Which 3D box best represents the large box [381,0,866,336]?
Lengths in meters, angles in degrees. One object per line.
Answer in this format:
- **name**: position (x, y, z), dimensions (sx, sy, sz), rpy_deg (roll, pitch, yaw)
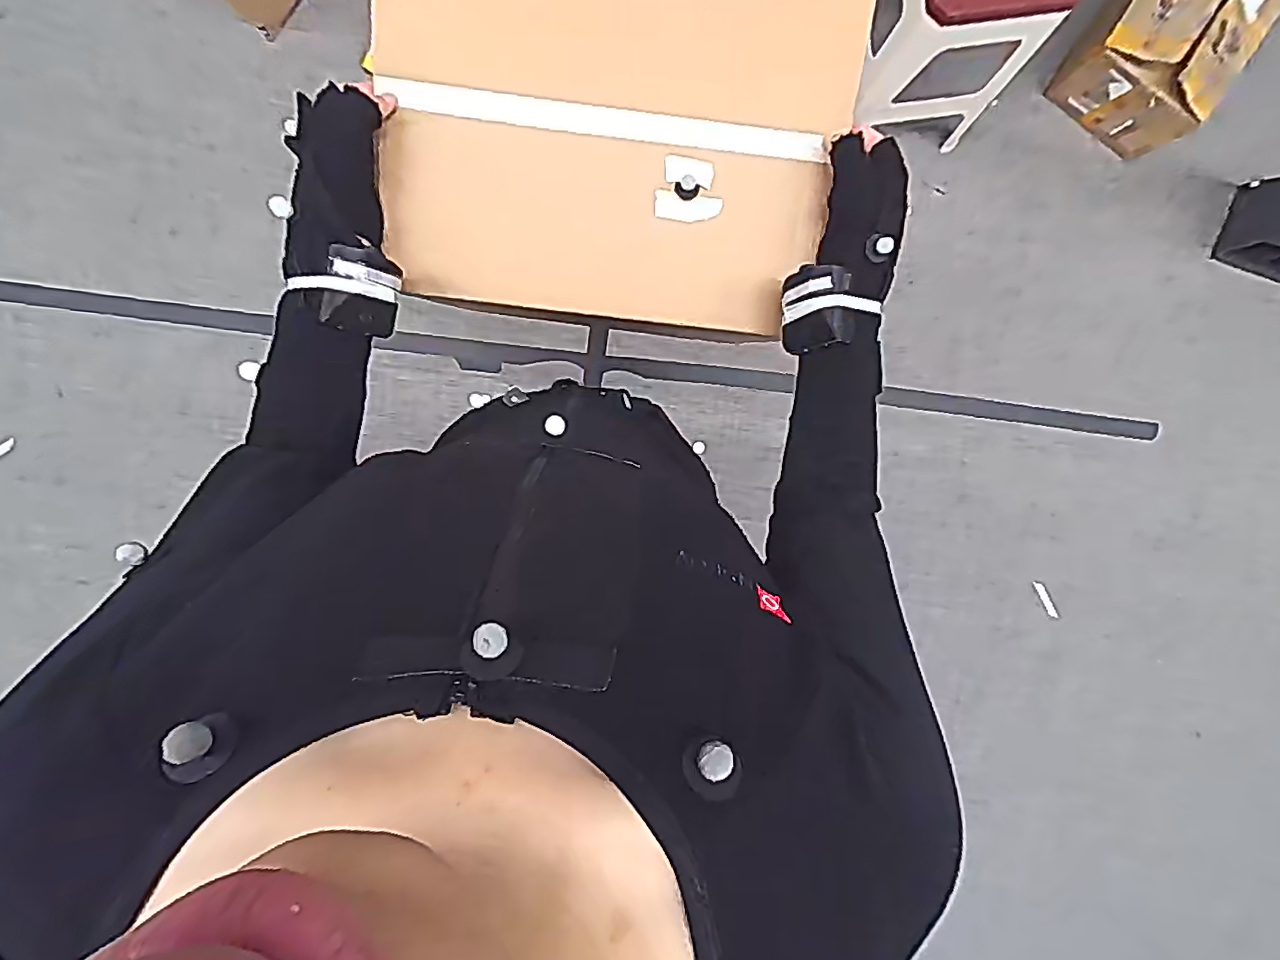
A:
- **large box**: position (-0.028, -0.344, 0.610), dimensions (0.408, 0.320, 0.320), rpy_deg (6, 104, -4)
